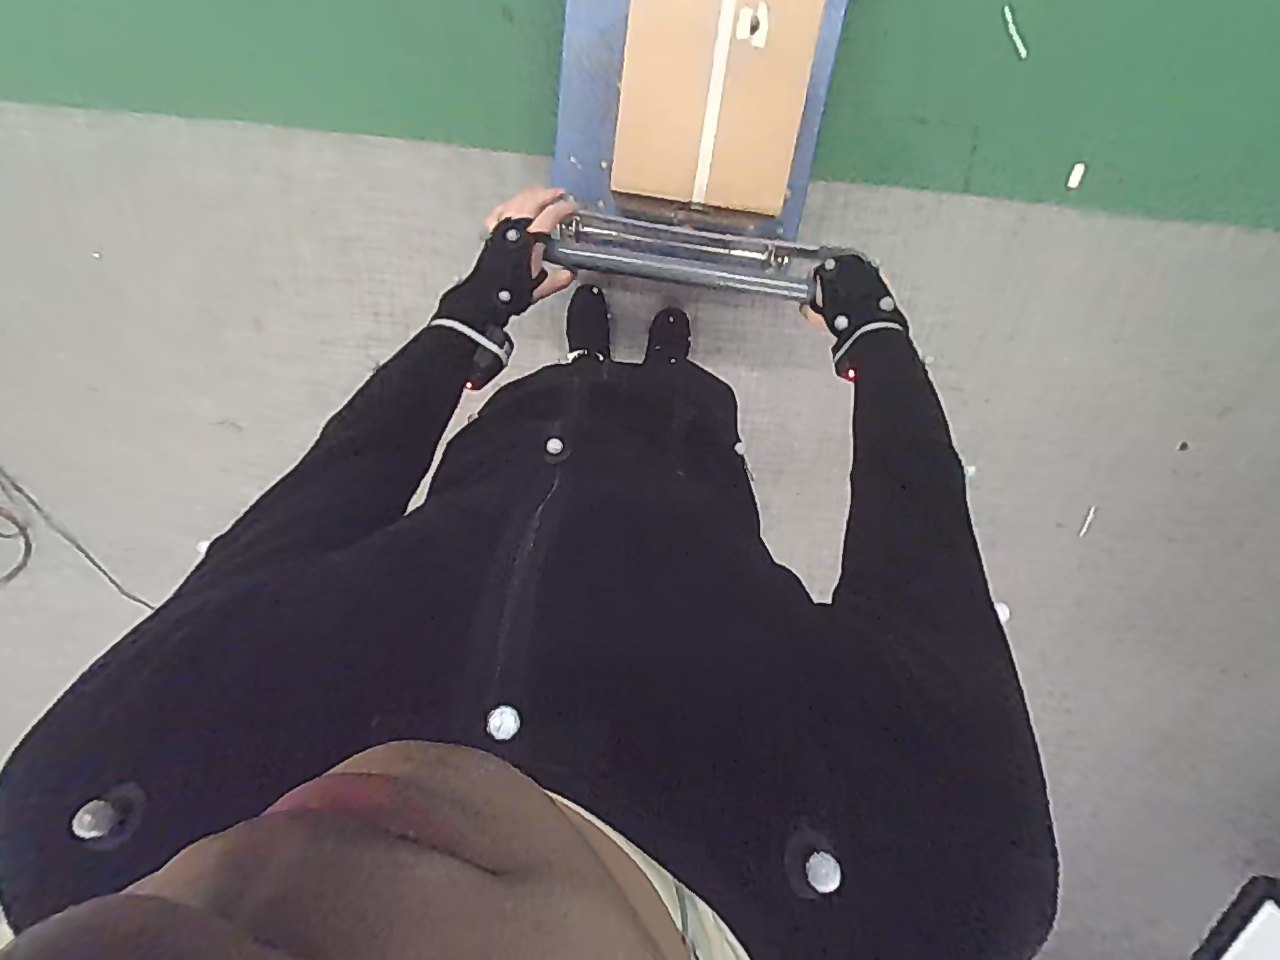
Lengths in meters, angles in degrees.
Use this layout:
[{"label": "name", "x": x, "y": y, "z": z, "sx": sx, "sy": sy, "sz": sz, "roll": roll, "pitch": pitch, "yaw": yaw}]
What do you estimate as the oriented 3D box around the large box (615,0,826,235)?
[{"label": "large box", "x": 0.132, "y": -0.721, "z": 1.049, "sx": 0.320, "sy": 0.320, "sz": 0.408, "roll": 8, "pitch": 110, "yaw": -4}]
